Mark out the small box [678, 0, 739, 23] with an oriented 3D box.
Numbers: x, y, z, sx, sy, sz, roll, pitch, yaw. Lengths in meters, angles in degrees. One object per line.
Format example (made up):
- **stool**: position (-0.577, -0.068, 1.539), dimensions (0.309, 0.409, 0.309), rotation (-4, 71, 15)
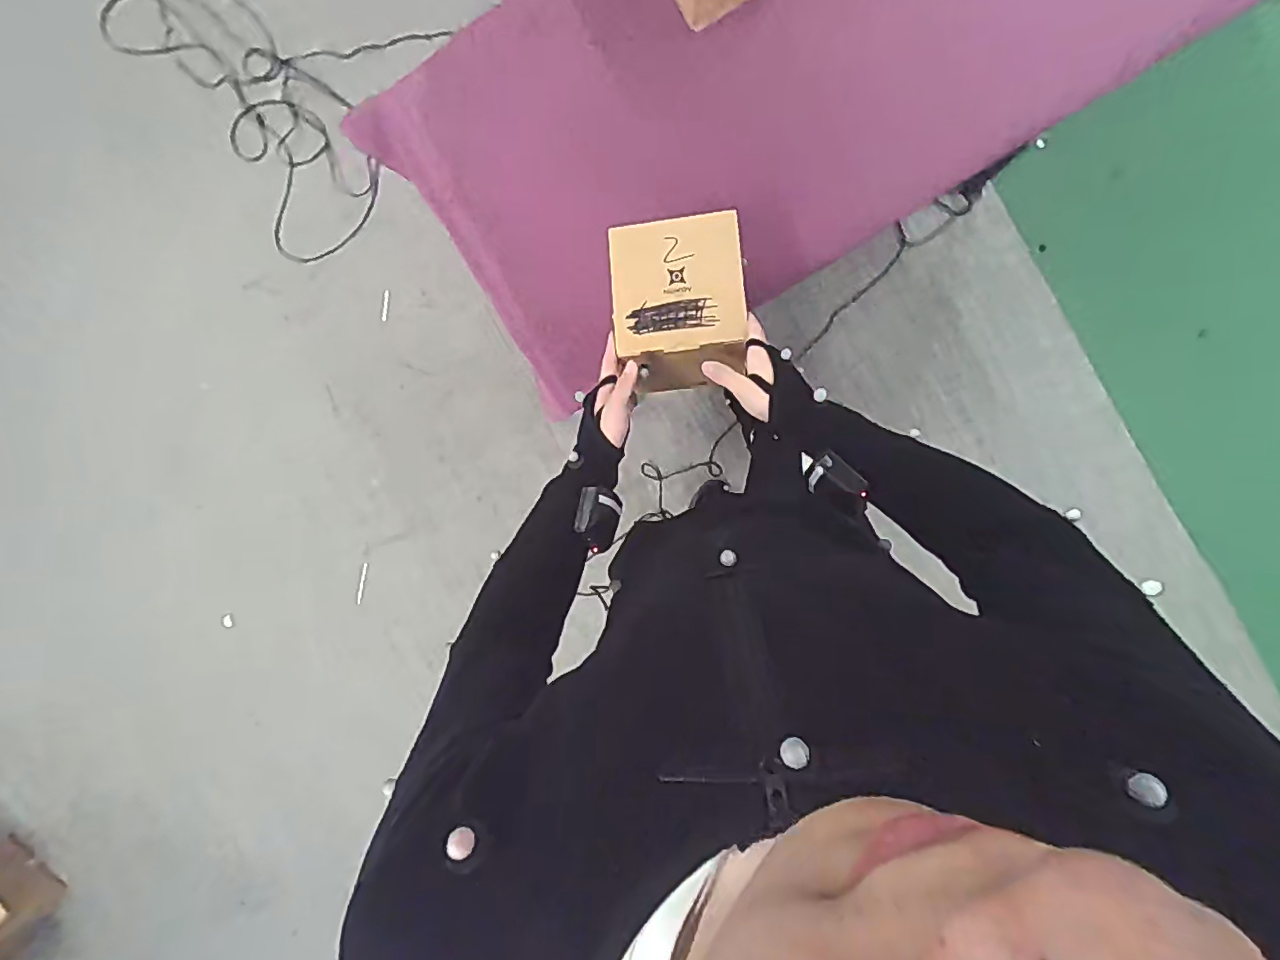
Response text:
- **small box**: position (0.106, -0.807, 0.748), dimensions (0.168, 0.176, 0.179), rotation (-29, 93, 6)
